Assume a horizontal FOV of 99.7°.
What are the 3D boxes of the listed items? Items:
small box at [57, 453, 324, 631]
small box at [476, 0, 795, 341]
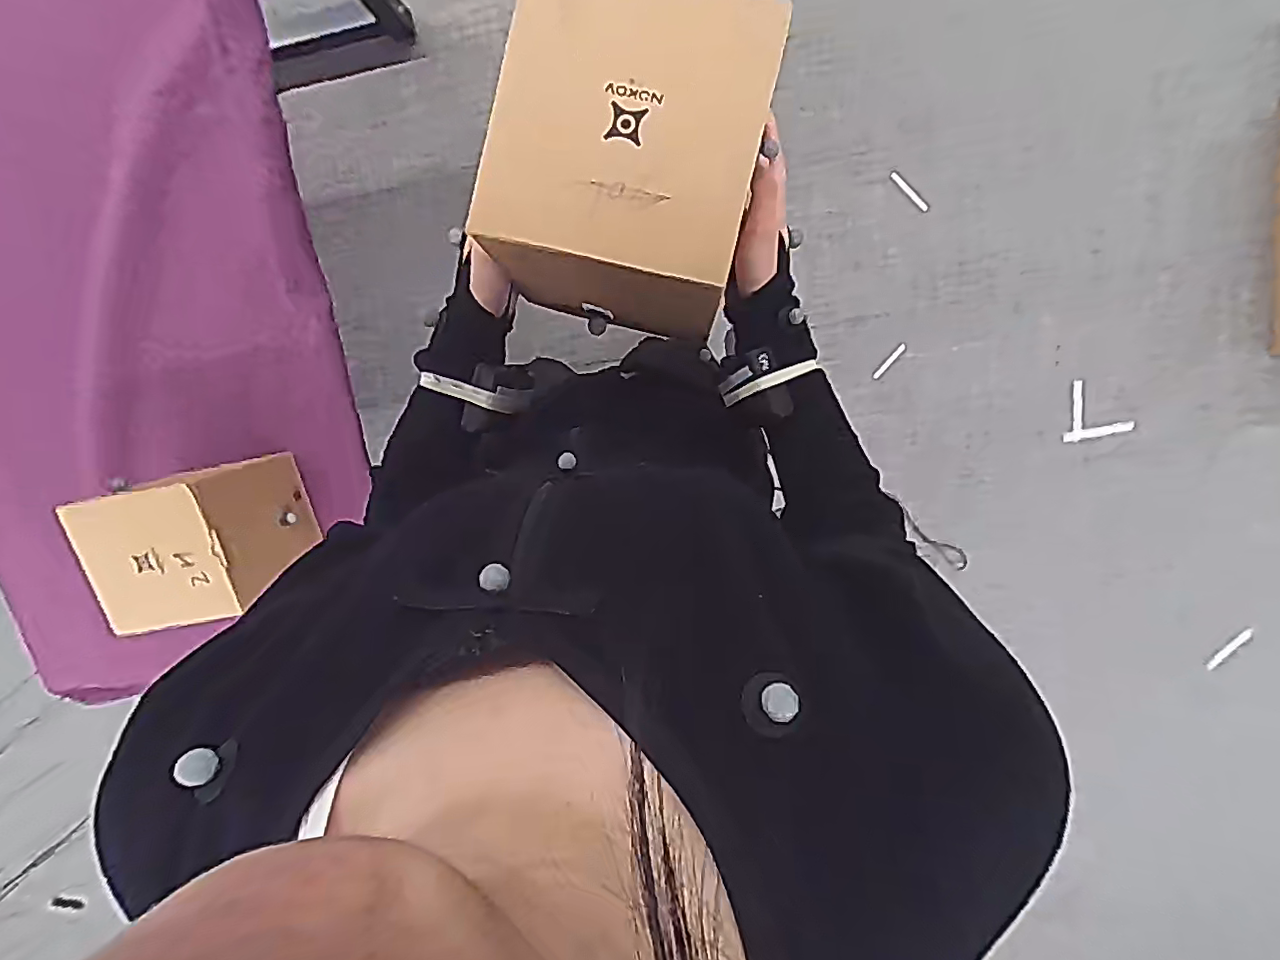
[{"bbox_3d":[-0.561,0.071,0.702,0.179,0.176,0.168,-11,104,5],"label":"small box"},{"bbox_3d":[-0.001,-0.223,0.411,0.168,0.176,0.179,14,93,3],"label":"small box"}]
